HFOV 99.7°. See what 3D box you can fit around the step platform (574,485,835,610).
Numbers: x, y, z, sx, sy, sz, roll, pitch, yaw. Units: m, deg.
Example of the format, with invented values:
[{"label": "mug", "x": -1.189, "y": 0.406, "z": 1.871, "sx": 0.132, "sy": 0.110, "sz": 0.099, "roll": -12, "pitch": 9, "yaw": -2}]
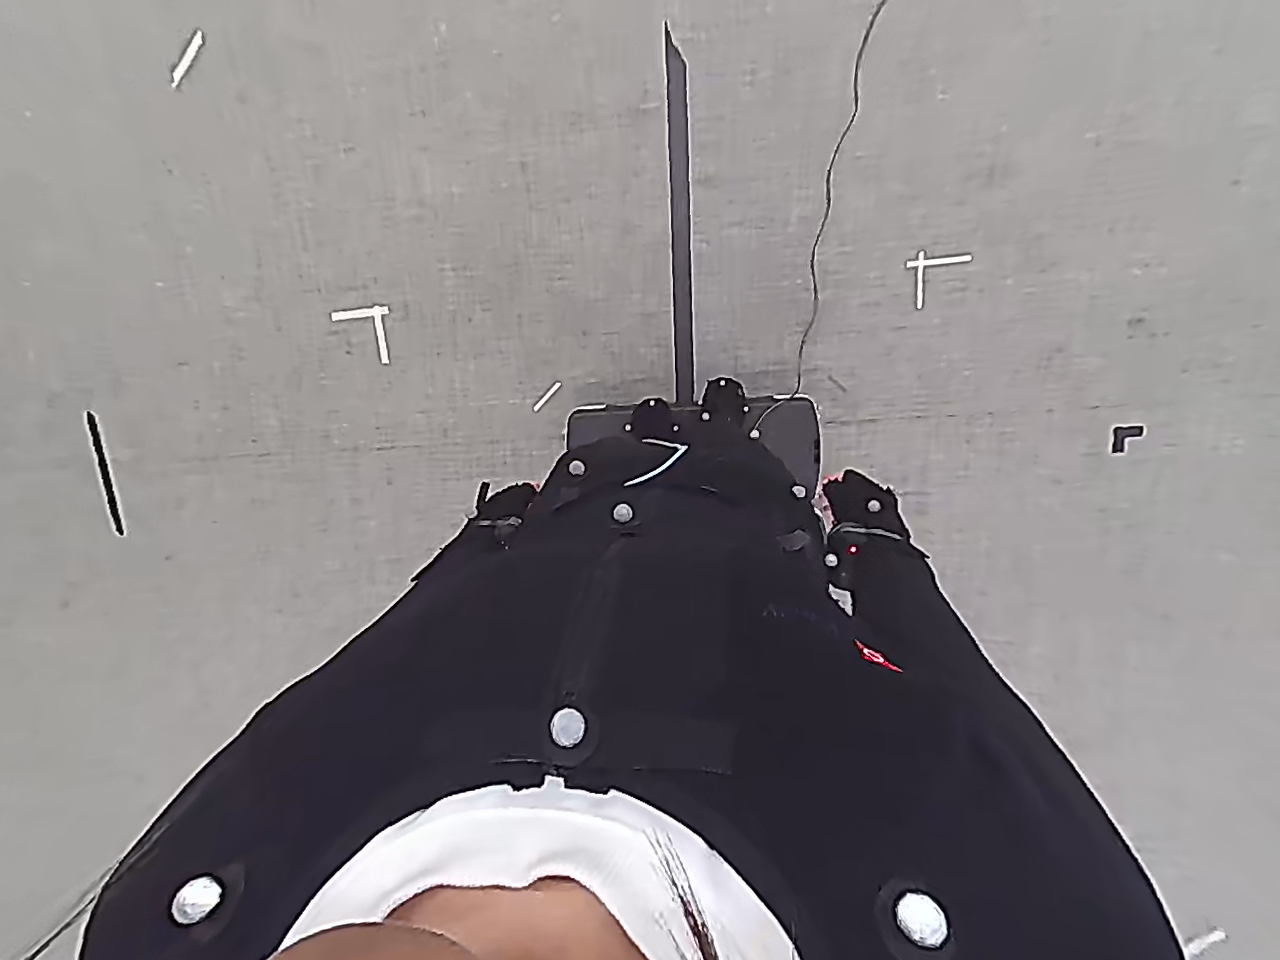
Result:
[{"label": "step platform", "x": 0.166, "y": 0.186, "z": 1.464, "sx": 0.684, "sy": 0.204, "sz": 0.286, "roll": -3, "pitch": 99, "yaw": 8}]
